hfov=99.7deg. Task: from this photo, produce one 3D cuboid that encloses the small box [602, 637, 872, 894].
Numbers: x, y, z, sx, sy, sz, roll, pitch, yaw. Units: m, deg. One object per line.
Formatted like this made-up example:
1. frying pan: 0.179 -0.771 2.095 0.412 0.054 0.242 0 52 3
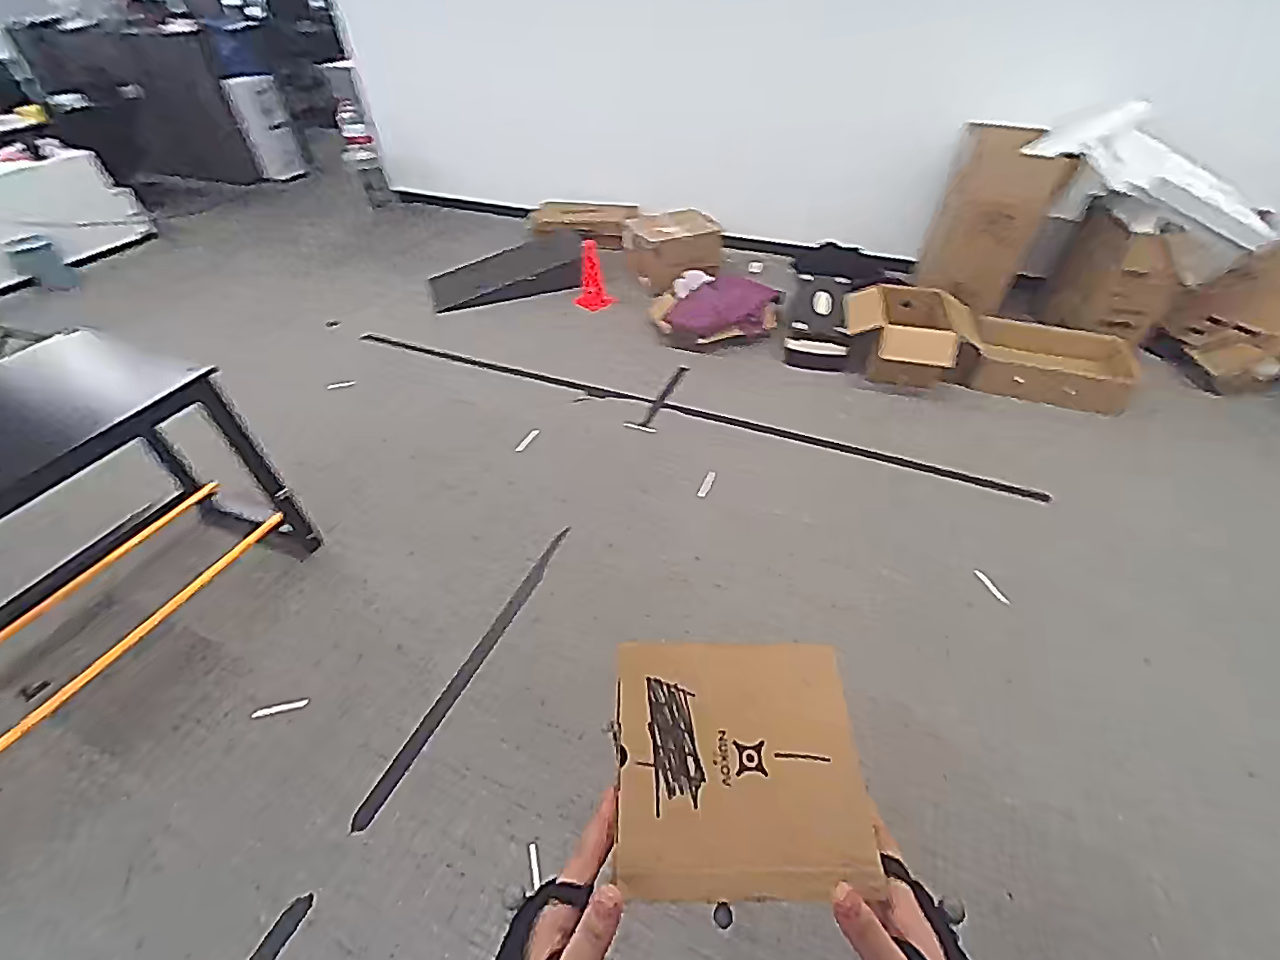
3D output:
1. small box: 0.059 0.243 0.454 0.179 0.176 0.168 1 53 -3
